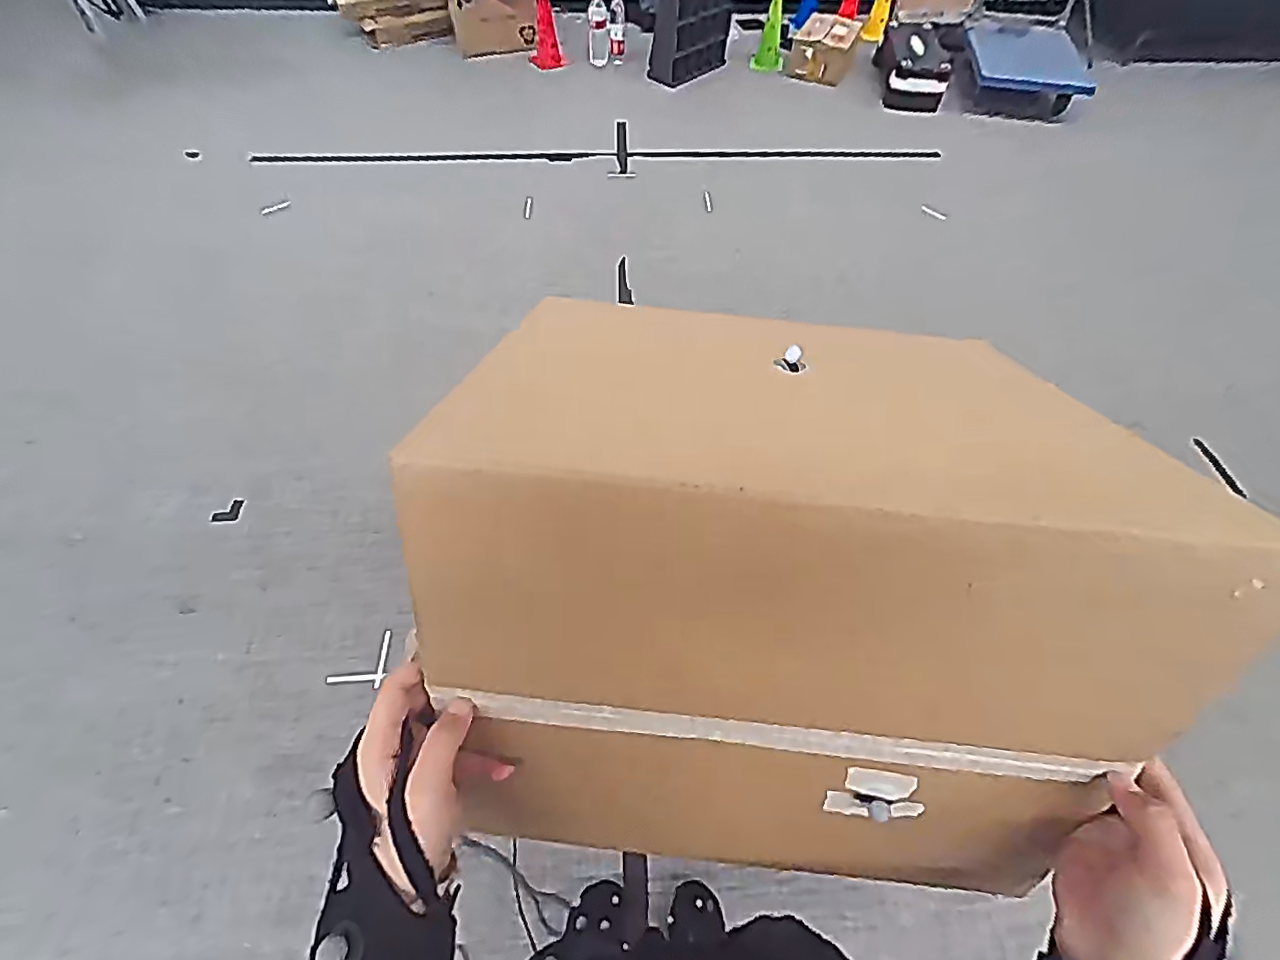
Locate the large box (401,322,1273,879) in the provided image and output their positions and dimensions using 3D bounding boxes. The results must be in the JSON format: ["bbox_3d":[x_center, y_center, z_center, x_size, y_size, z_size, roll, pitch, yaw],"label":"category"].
[{"bbox_3d":[0.084,0.069,0.448,0.408,0.320,0.320,5,32,1],"label":"large box"}]
